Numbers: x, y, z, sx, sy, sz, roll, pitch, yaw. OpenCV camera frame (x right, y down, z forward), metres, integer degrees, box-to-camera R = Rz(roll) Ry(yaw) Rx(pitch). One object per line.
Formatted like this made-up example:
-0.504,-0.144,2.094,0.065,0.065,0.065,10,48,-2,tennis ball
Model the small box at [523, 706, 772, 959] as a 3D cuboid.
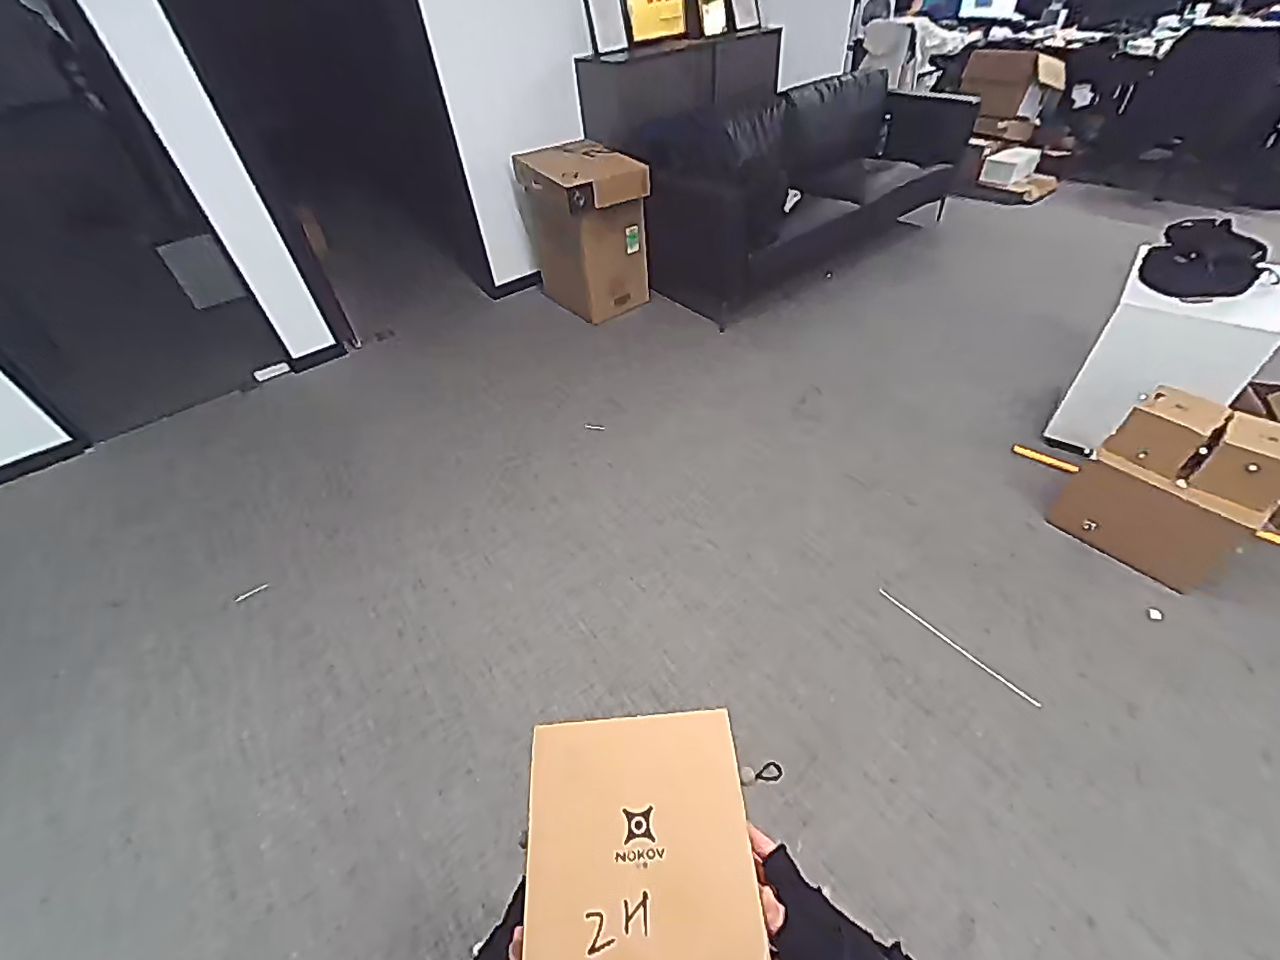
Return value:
0.004,0.312,0.457,0.168,0.176,0.179,-5,50,0,small box
